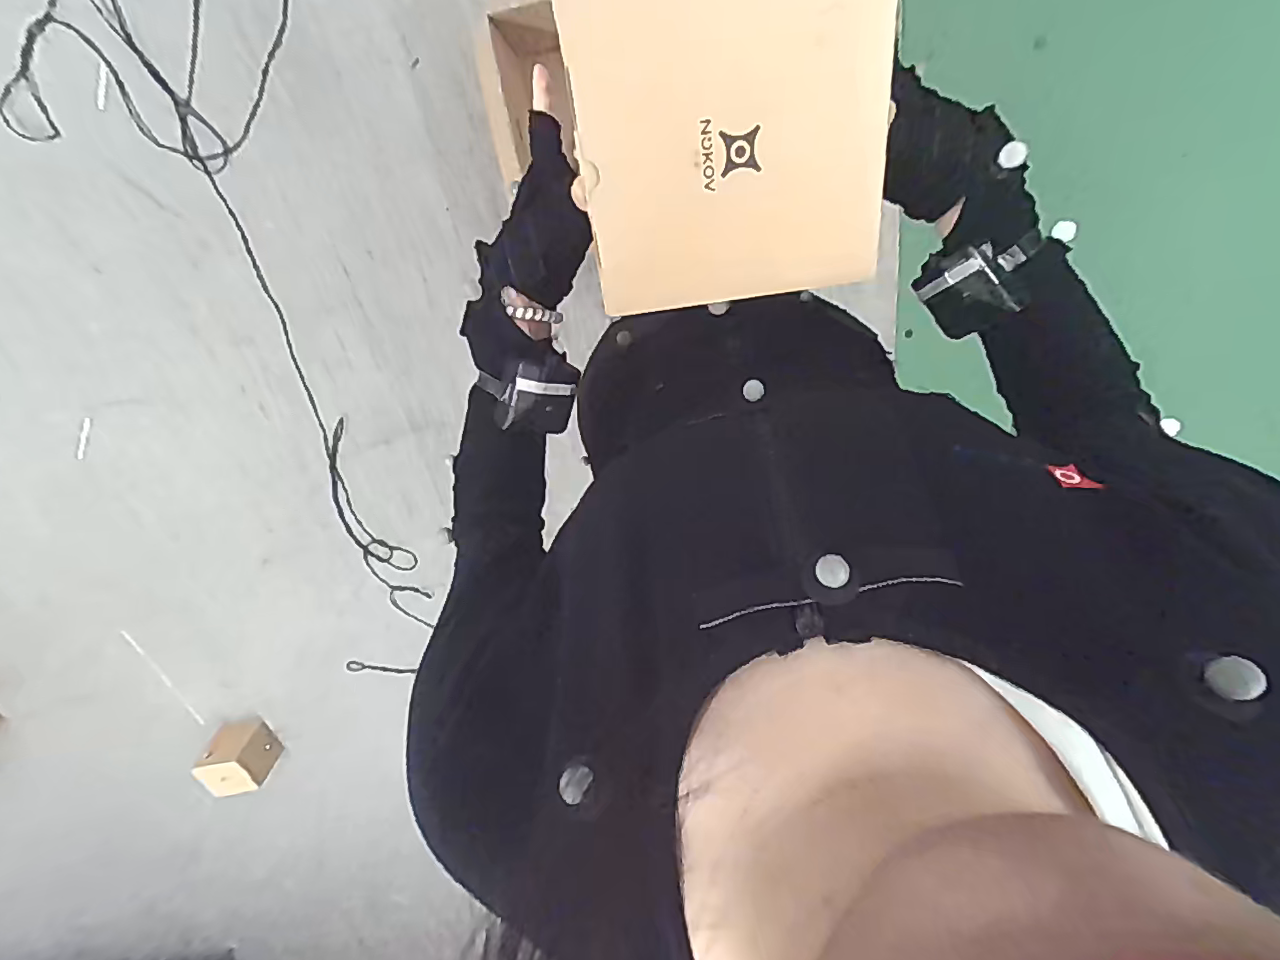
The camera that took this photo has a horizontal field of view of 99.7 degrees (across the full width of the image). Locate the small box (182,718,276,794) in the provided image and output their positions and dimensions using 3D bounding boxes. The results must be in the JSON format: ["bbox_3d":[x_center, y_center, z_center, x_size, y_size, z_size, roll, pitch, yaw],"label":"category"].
[{"bbox_3d":[-1.469,0.991,1.947,0.179,0.176,0.168,-12,118,4],"label":"small box"}]
